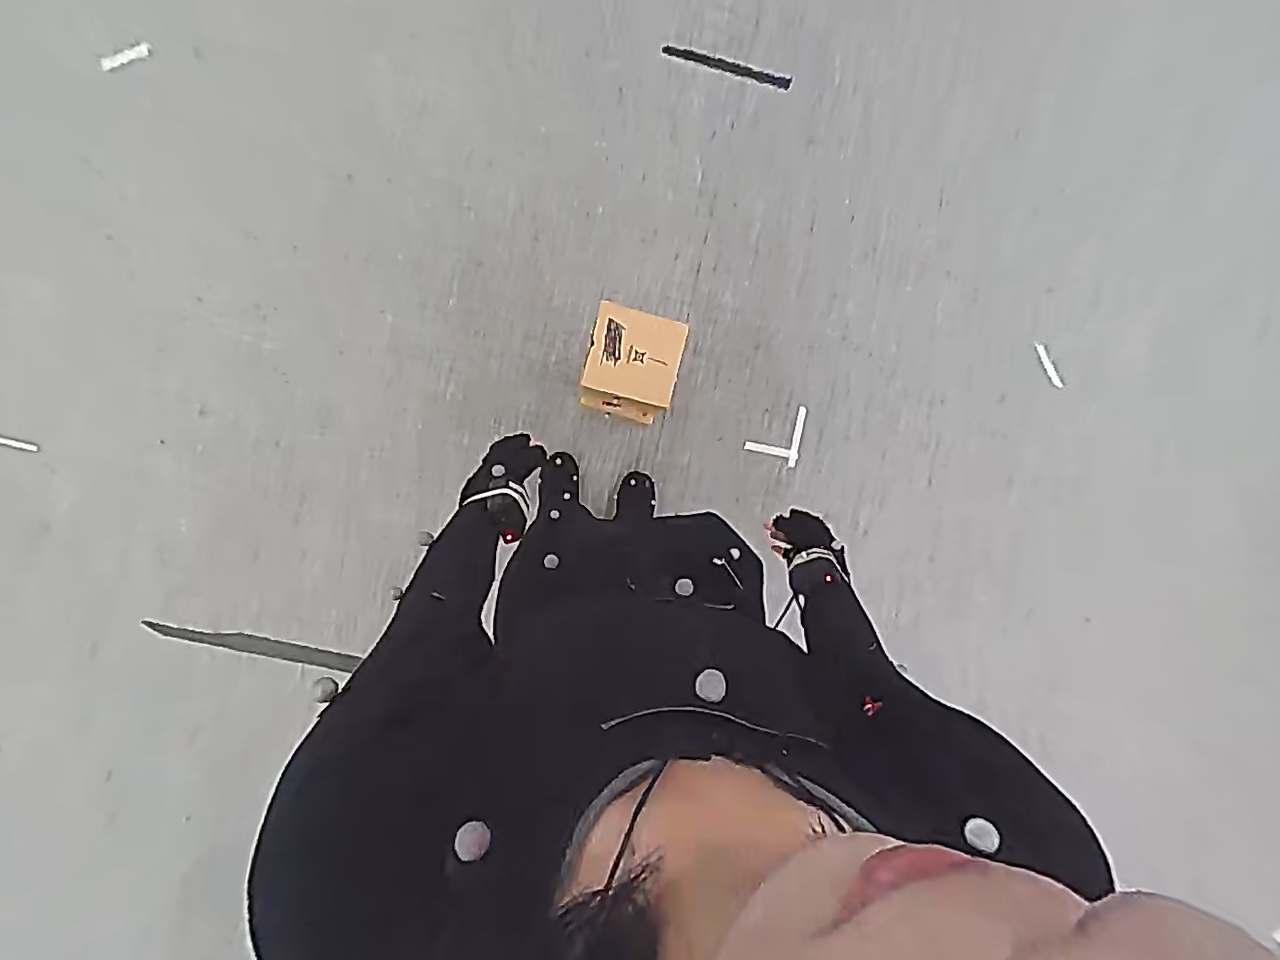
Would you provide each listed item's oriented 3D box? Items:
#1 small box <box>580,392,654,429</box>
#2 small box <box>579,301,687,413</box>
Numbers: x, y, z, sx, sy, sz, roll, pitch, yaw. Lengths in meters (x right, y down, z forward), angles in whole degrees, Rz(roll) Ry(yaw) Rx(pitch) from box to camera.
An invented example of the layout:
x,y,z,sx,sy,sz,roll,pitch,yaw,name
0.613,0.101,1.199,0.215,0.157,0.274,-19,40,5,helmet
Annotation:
x,y,z,sx,sy,sz,roll,pitch,yaw,name
-0.038,-0.228,1.263,0.168,0.176,0.179,17,90,-6,small box
-0.020,-0.239,1.098,0.179,0.176,0.168,14,91,-6,small box
